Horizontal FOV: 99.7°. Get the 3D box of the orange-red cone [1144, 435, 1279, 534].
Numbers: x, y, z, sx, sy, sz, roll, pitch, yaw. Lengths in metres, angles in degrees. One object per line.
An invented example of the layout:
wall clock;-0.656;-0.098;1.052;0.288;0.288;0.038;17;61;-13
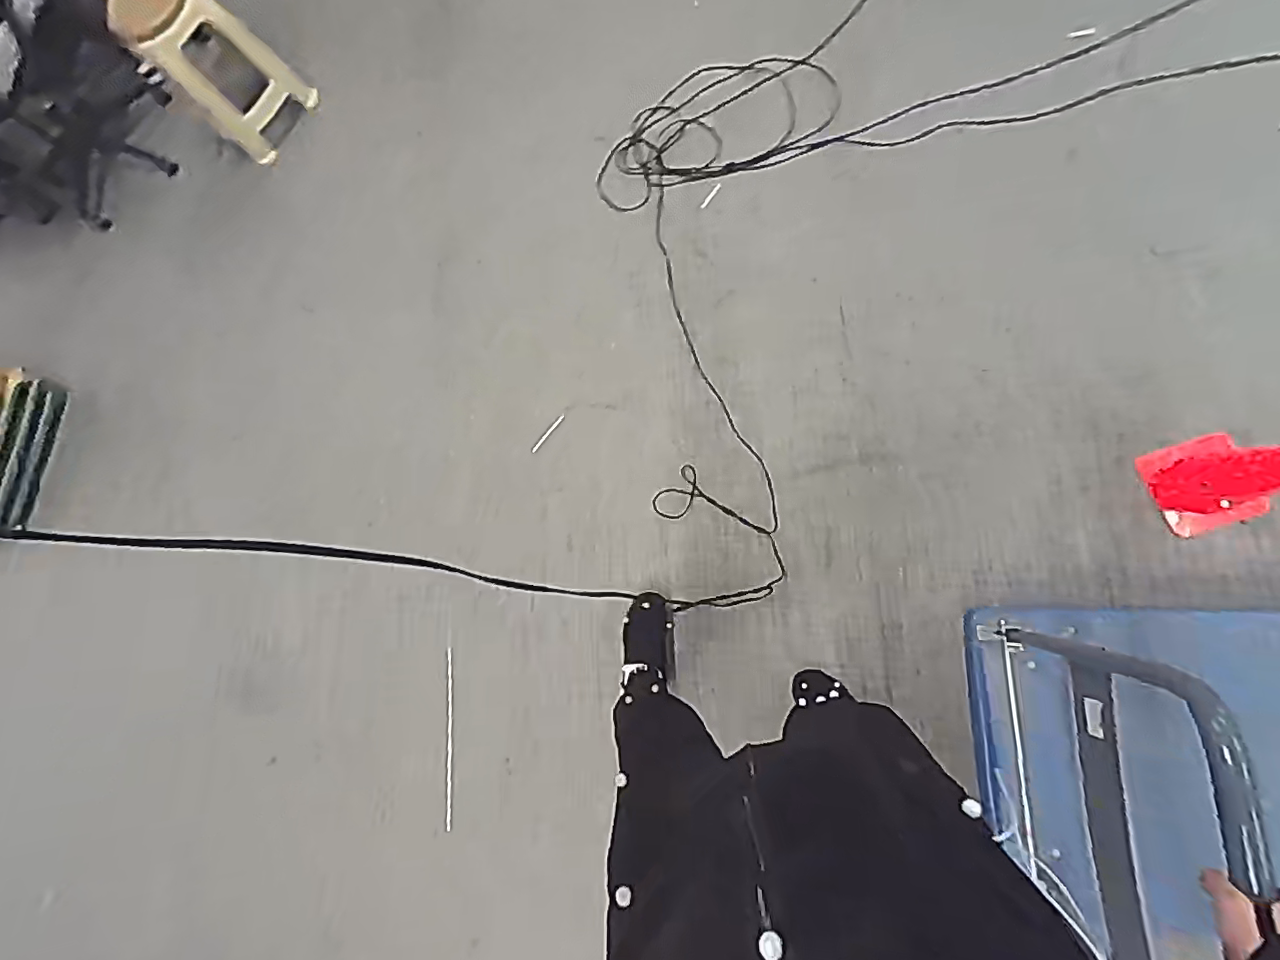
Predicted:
orange-red cone;1.259;-0.023;1.076;0.198;0.360;0.199;-19;75;8
